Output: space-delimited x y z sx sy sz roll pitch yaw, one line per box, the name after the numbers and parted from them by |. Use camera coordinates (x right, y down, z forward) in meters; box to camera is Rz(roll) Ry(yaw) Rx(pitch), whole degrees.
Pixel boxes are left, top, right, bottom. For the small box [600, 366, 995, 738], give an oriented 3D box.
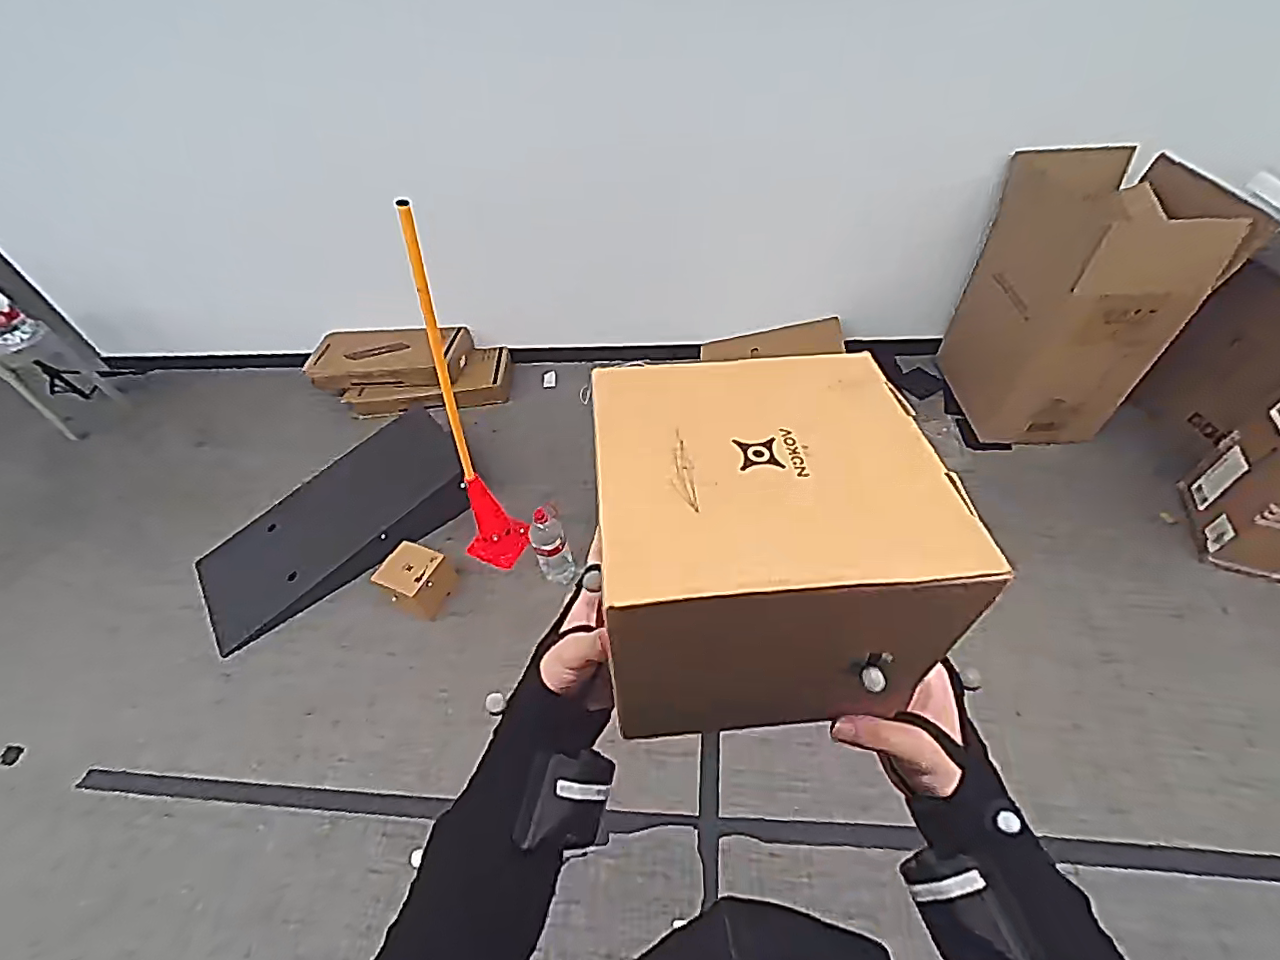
0.068 0.048 0.348 0.179 0.176 0.168 -5 46 -3 | small box
